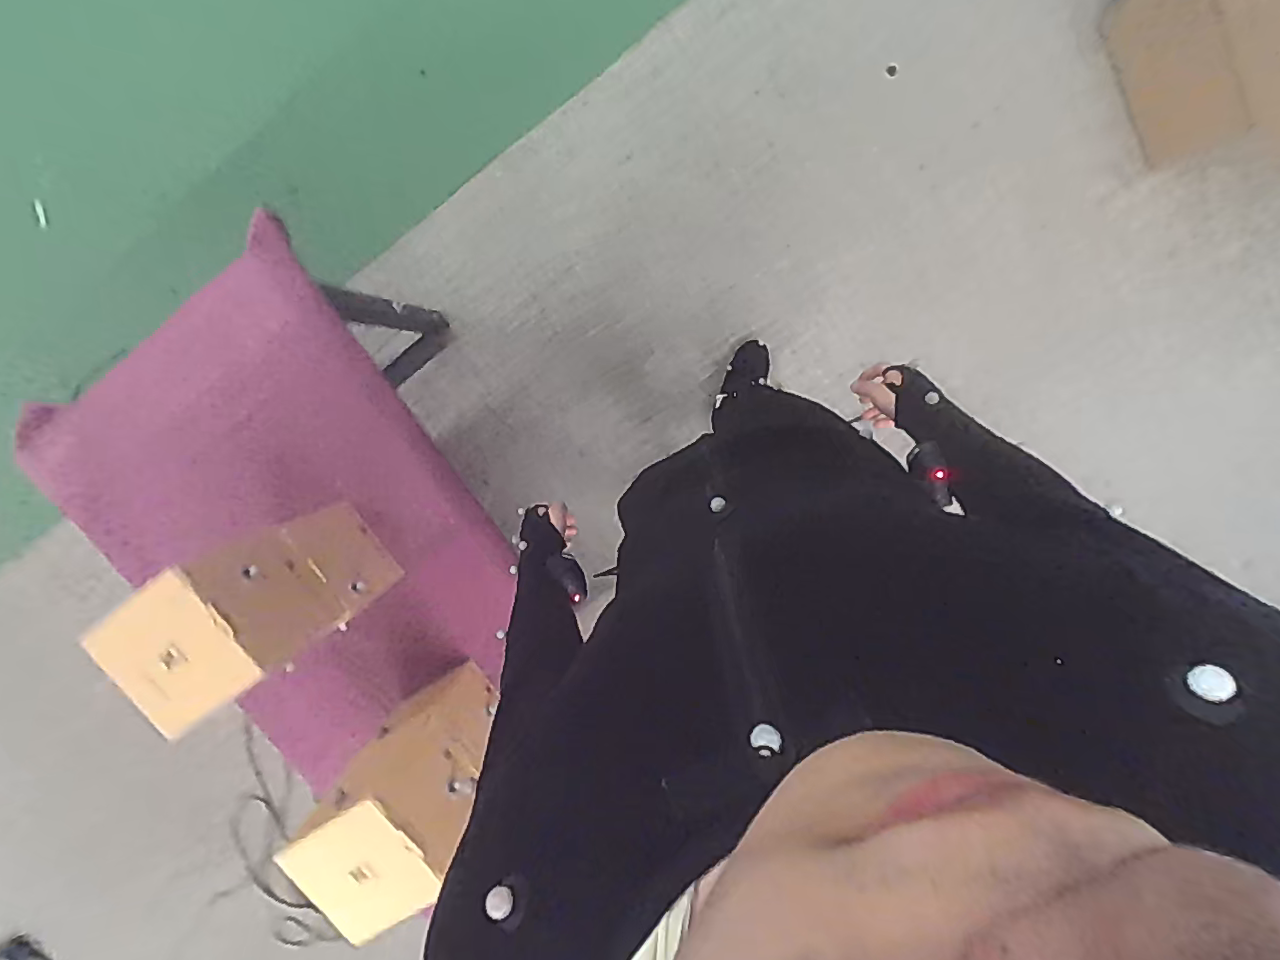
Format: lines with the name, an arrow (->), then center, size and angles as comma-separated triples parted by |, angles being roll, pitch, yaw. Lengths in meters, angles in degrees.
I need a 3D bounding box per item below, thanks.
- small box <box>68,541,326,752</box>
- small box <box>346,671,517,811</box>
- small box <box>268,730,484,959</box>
small box -> -0.557, 0.205, 0.714 | 0.179, 0.176, 0.168 | -34, 97, 10
small box -> -0.340, 0.465, 0.917 | 0.179, 0.176, 0.168 | -34, 98, 9
small box -> -0.353, 0.498, 0.758 | 0.179, 0.176, 0.168 | -35, 96, 9
